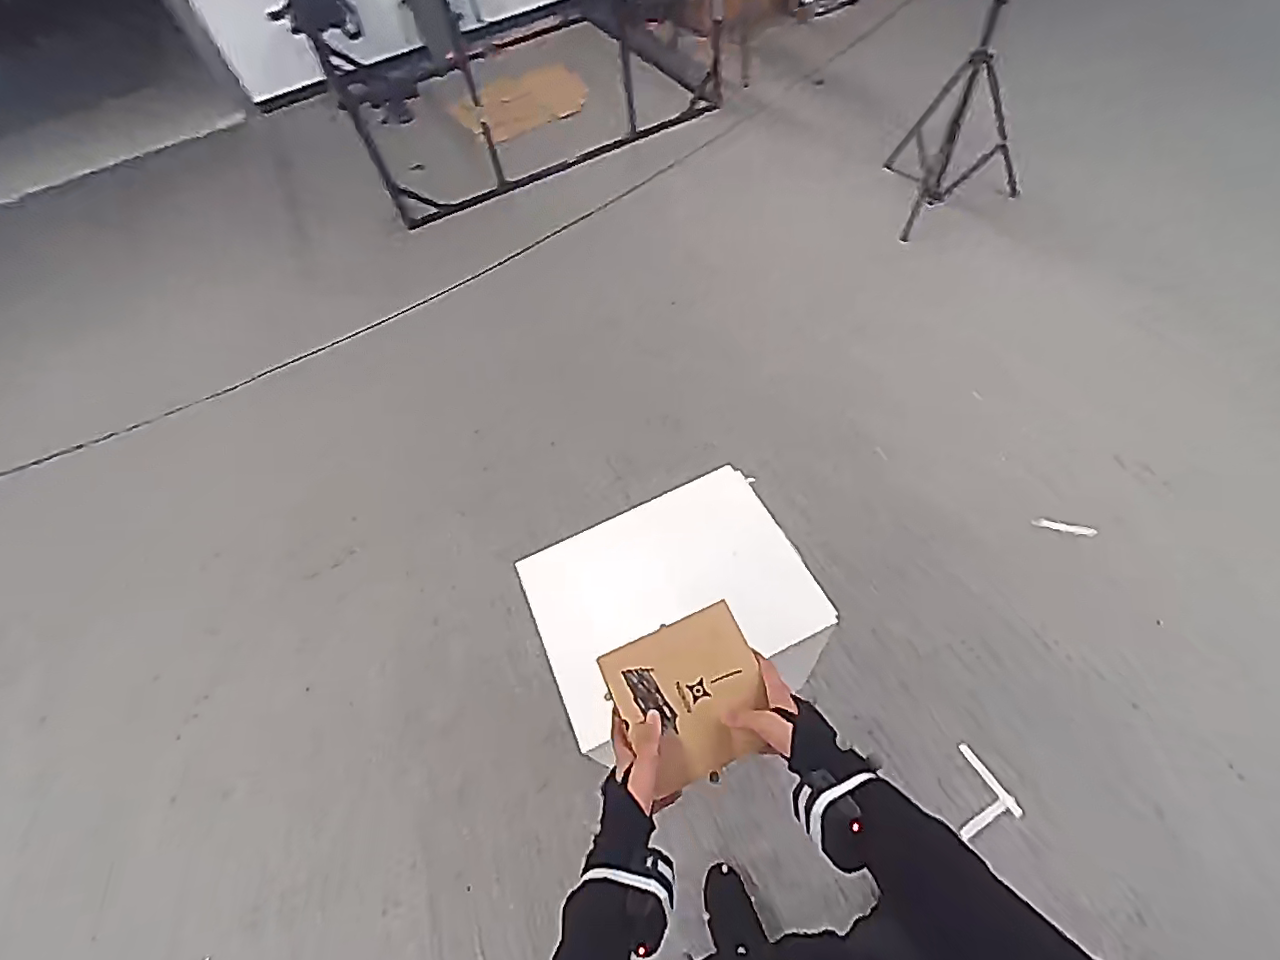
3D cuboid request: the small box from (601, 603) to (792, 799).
[{"bbox_3d":[0.065,0.285,0.698,0.179,0.176,0.168,-22,65,-9],"label":"small box"}]
